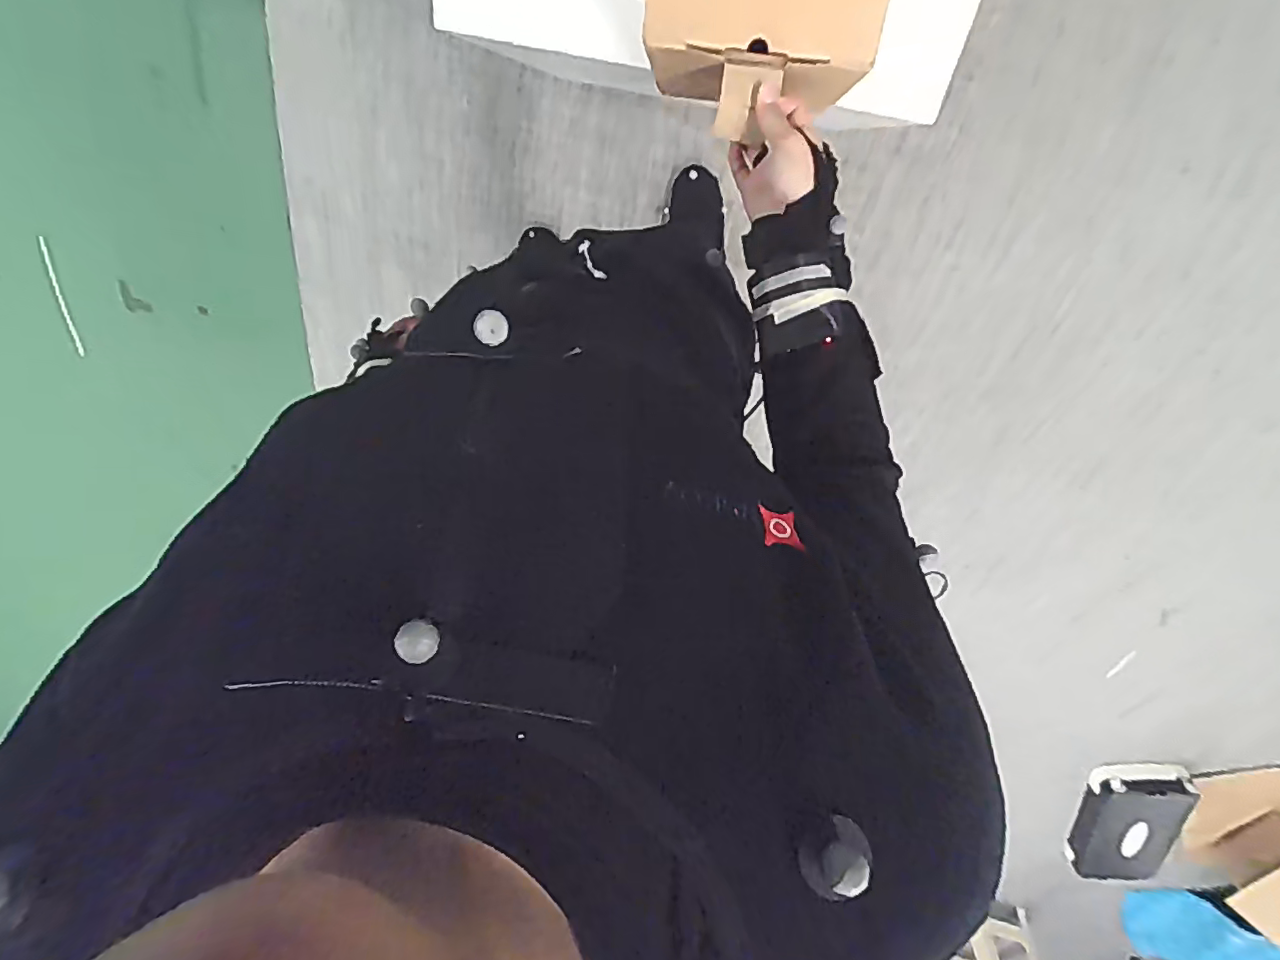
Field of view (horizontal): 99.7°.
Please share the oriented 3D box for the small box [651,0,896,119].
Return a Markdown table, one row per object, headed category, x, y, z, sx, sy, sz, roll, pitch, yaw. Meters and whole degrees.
| category | x | y | z | sx | sy | sz | roll | pitch | yaw |
| --- | --- | --- | --- | --- | --- | --- | --- | --- | --- |
| small box | 0.105 | -0.406 | 0.420 | 0.168 | 0.176 | 0.179 | 9 | 116 | 3 |
